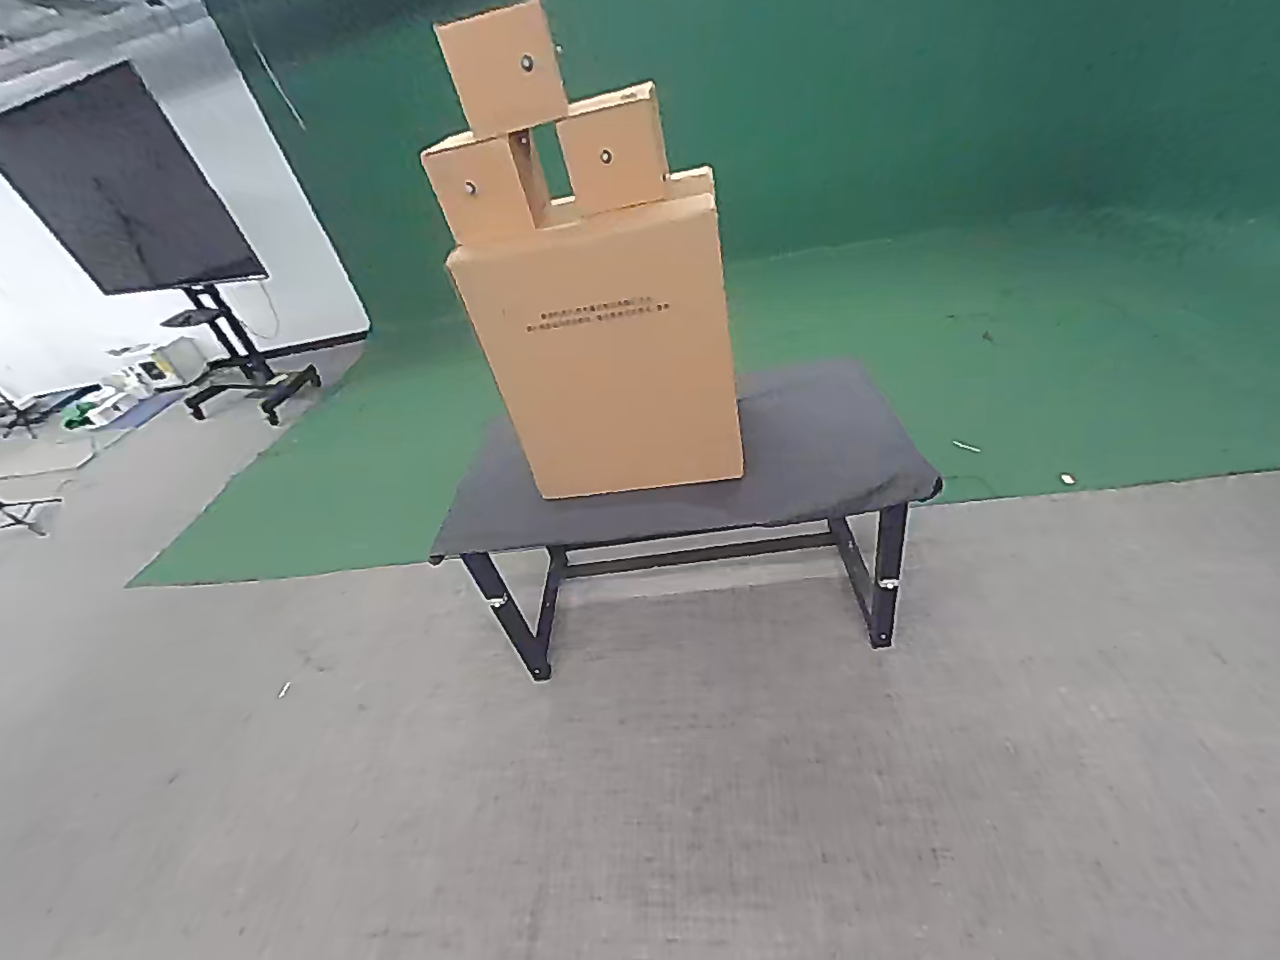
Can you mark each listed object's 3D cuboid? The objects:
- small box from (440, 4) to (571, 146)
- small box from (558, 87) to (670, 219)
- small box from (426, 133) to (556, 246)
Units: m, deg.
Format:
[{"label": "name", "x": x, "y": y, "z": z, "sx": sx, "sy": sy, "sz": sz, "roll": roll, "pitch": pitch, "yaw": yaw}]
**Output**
[{"label": "small box", "x": -0.230, "y": -0.730, "z": 0.980, "sx": 0.179, "sy": 0.176, "sz": 0.168, "roll": -14, "pitch": 39, "yaw": 4}, {"label": "small box", "x": -0.041, "y": -0.641, "z": 1.066, "sx": 0.179, "sy": 0.176, "sz": 0.168, "roll": -6, "pitch": 42, "yaw": 13}, {"label": "small box", "x": -0.292, "y": -0.595, "z": 1.099, "sx": 0.179, "sy": 0.176, "sz": 0.168, "roll": -6, "pitch": 42, "yaw": 12}]
